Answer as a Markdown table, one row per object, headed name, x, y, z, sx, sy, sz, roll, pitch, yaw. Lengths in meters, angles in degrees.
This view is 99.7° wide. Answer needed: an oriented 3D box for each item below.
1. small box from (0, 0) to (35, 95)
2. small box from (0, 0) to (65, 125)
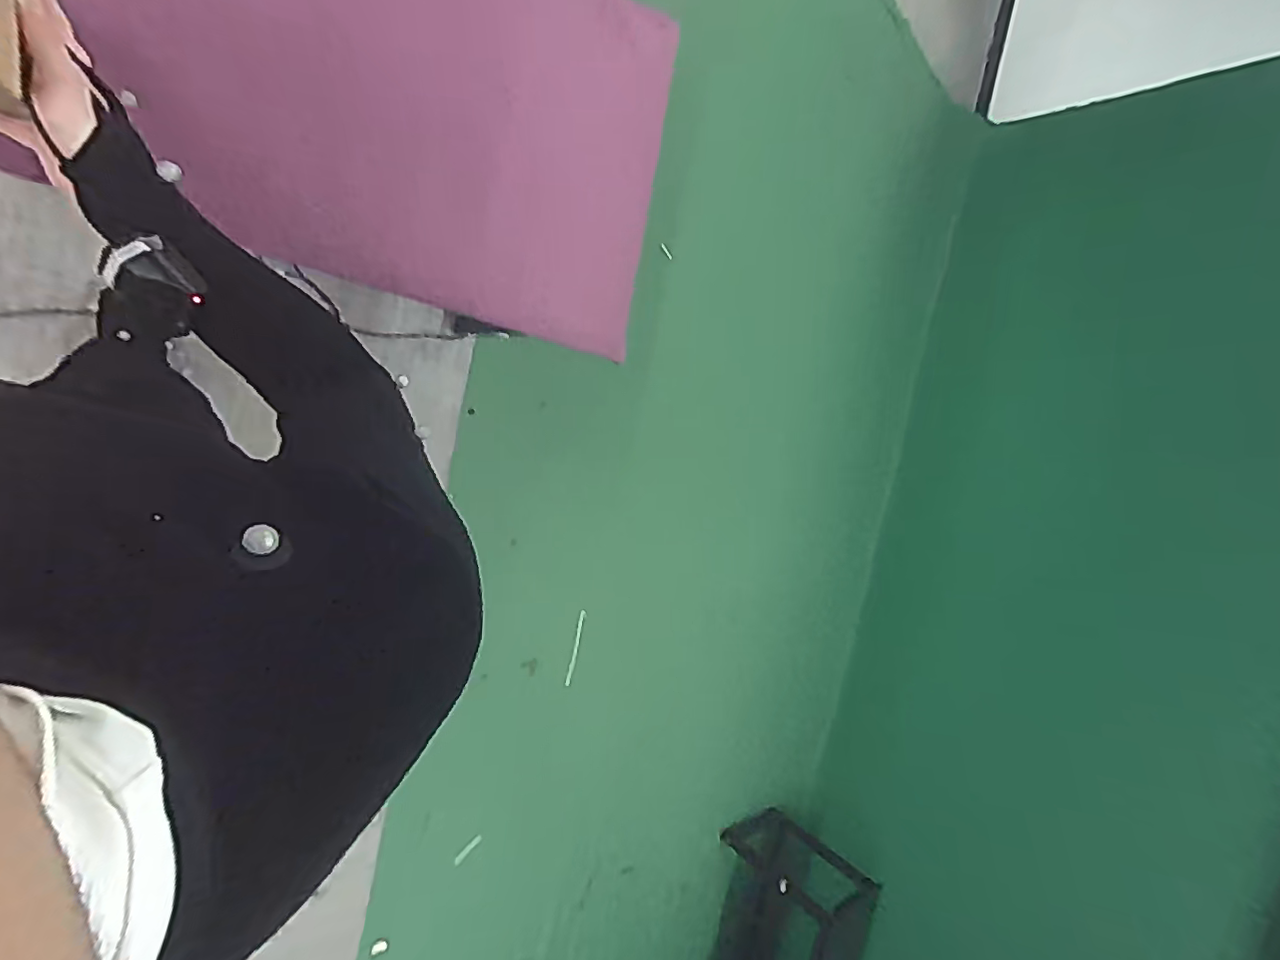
| name | x | y | z | sx | sy | sz | roll | pitch | yaw |
| --- | --- | --- | --- | --- | --- | --- | --- | --- | --- |
| small box | -0.479 | -0.356 | 0.302 | 0.168 | 0.176 | 0.179 | -1 | 108 | -41 |
| small box | -0.582 | -0.408 | 0.420 | 0.168 | 0.176 | 0.179 | -2 | 110 | -40 |
